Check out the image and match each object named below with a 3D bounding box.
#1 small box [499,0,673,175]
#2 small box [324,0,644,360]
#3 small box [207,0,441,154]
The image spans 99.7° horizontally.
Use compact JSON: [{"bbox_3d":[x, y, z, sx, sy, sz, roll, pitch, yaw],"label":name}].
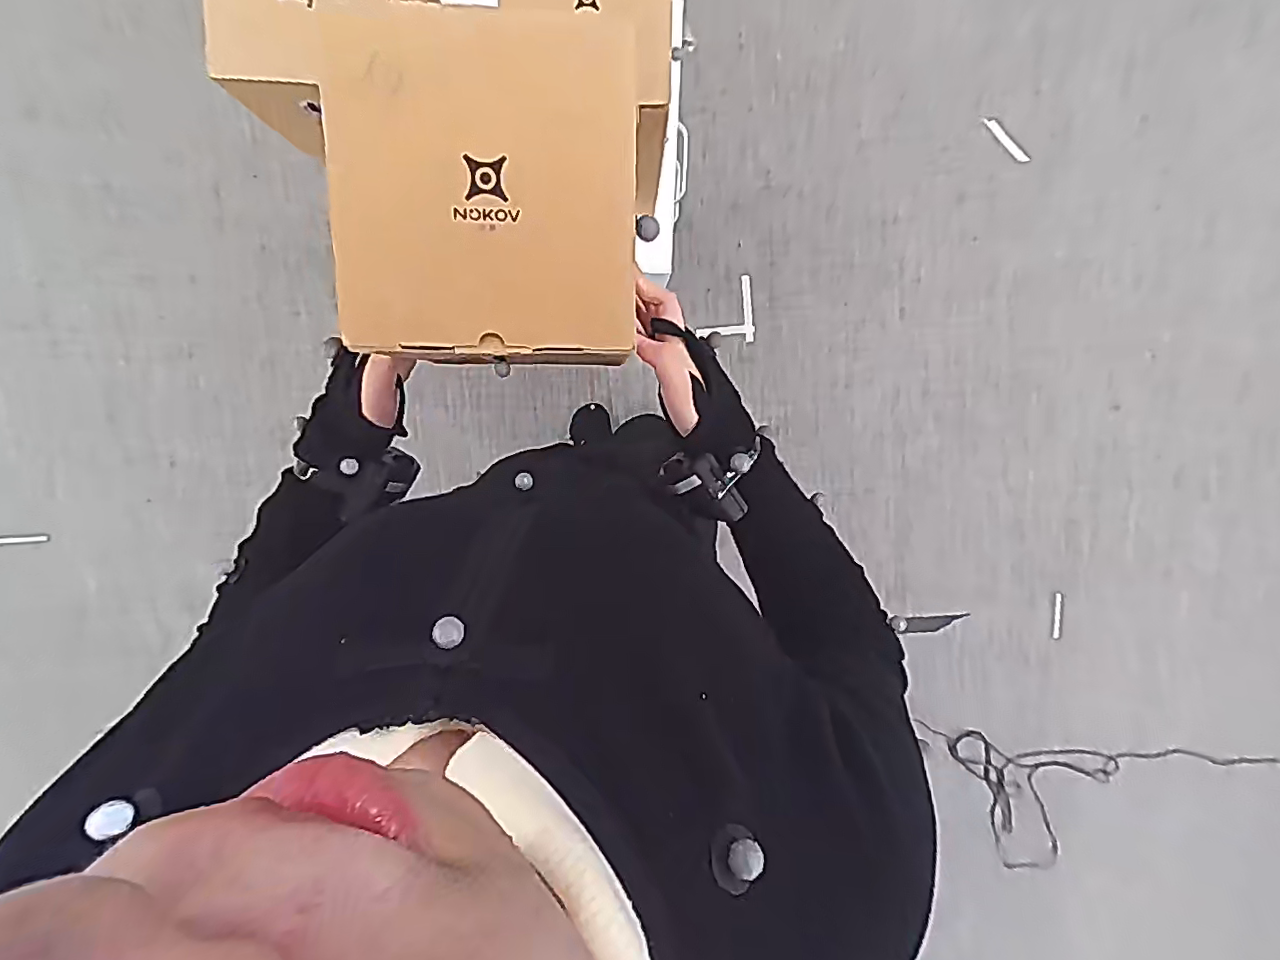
[{"bbox_3d":[-0.051,-0.453,0.585,0.168,0.176,0.179,1,98,-2],"label":"small box"},{"bbox_3d":[-0.087,-0.176,0.374,0.168,0.176,0.179,-1,101,-4],"label":"small box"},{"bbox_3d":[-0.312,-0.463,0.574,0.179,0.176,0.168,2,99,-3],"label":"small box"}]
